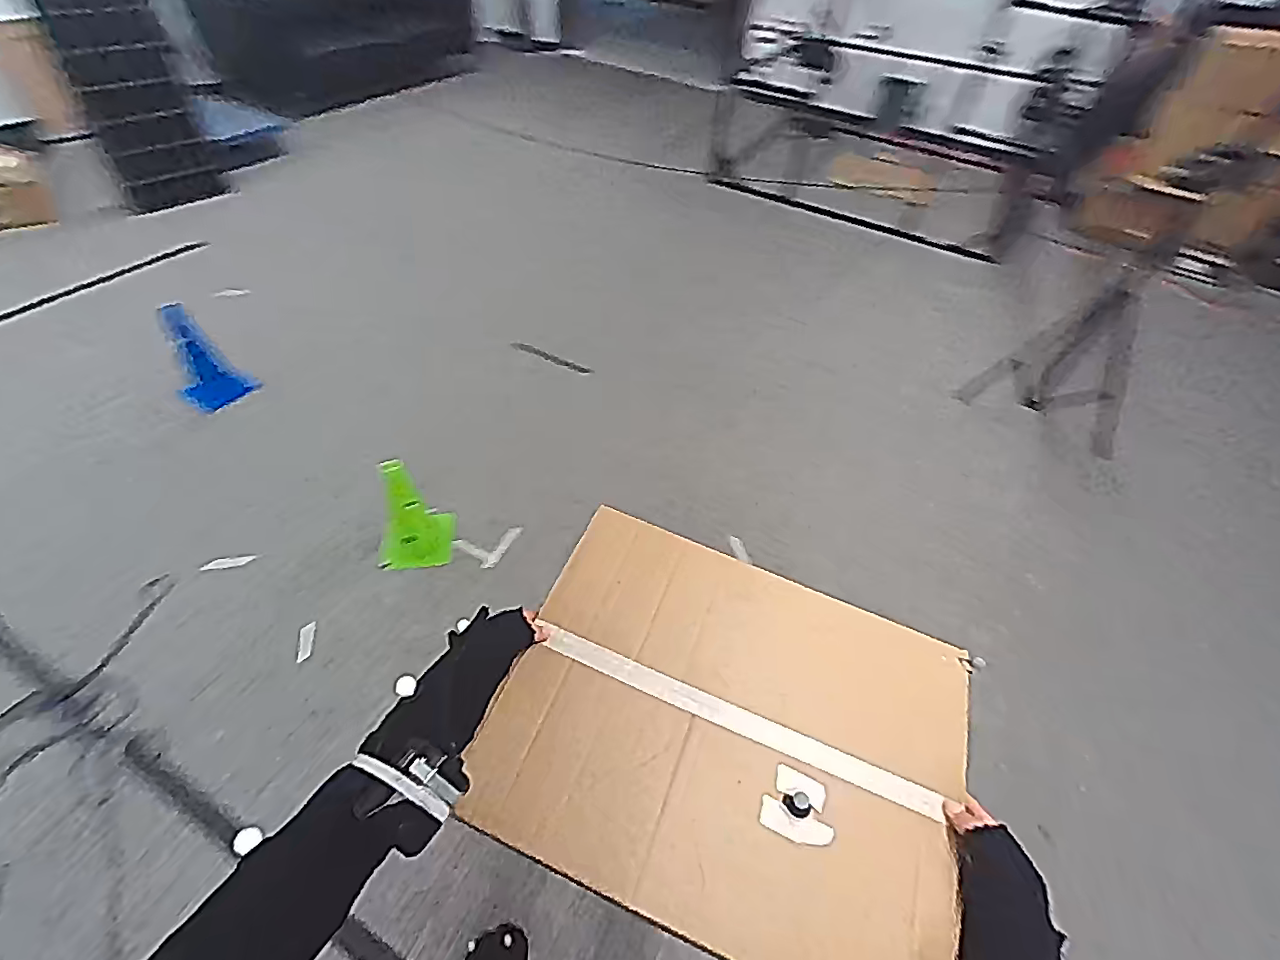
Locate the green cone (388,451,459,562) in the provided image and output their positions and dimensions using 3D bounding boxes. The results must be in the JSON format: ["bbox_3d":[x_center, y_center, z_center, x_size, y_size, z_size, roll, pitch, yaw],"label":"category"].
[{"bbox_3d":[-0.672,0.059,1.608,0.200,0.368,0.202,-3,48,-11],"label":"green cone"}]

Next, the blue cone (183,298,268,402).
[{"bbox_3d":[-1.581,-0.492,1.996,0.193,0.380,0.192,28,50,16],"label":"blue cone"}]
